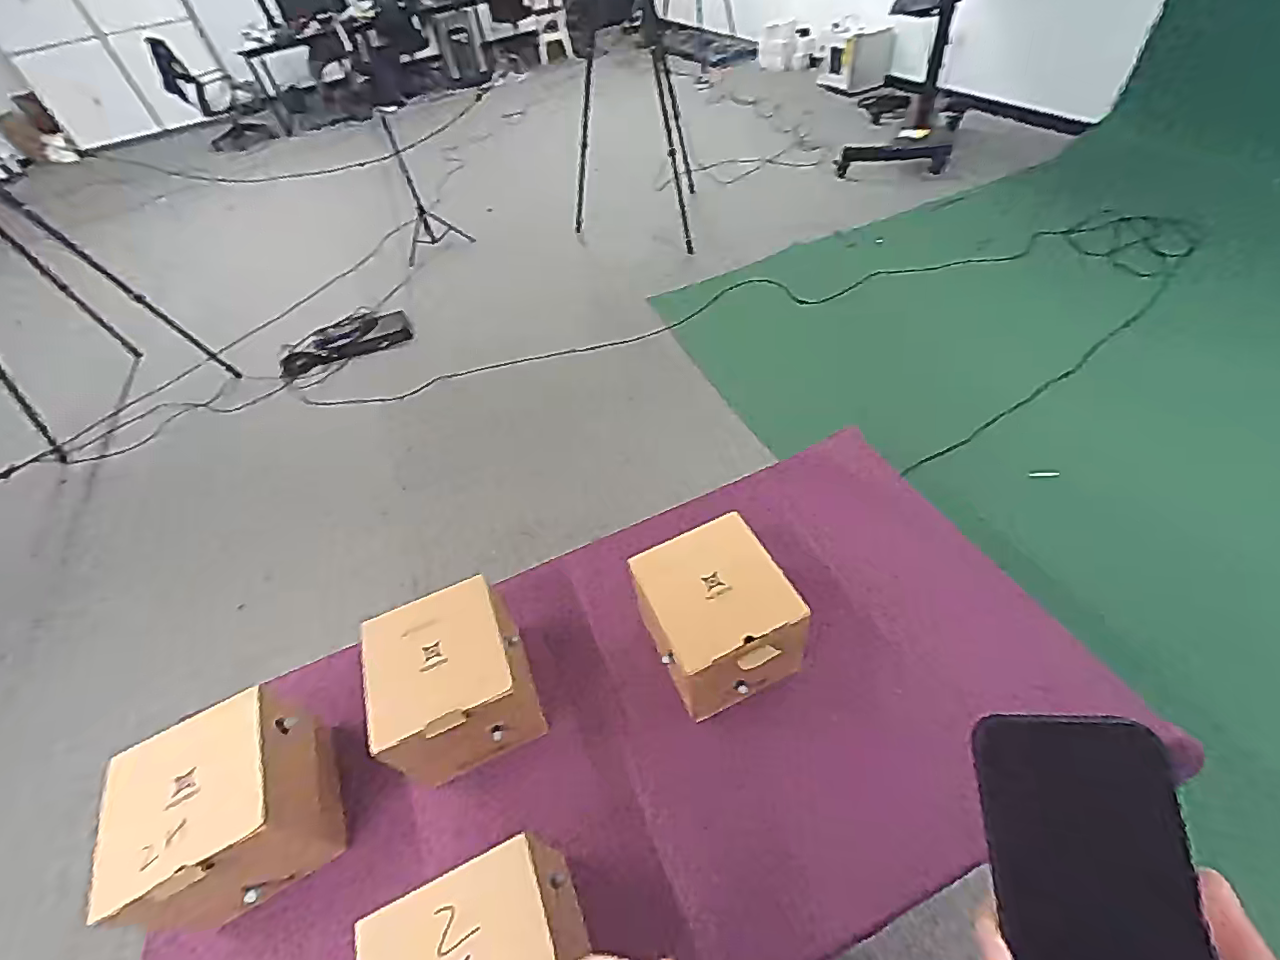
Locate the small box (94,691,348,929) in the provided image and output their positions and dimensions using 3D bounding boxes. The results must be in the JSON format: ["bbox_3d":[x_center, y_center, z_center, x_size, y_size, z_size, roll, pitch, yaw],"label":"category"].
[{"bbox_3d":[-0.482,0.397,0.650,0.168,0.176,0.179,-27,50,-13],"label":"small box"}]

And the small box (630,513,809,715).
[{"bbox_3d":[0.101,0.182,0.733,0.168,0.176,0.179,-24,50,-10],"label":"small box"}]

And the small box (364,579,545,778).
[{"bbox_3d":[-0.240,0.270,0.719,0.168,0.176,0.179,-22,49,-11],"label":"small box"}]
